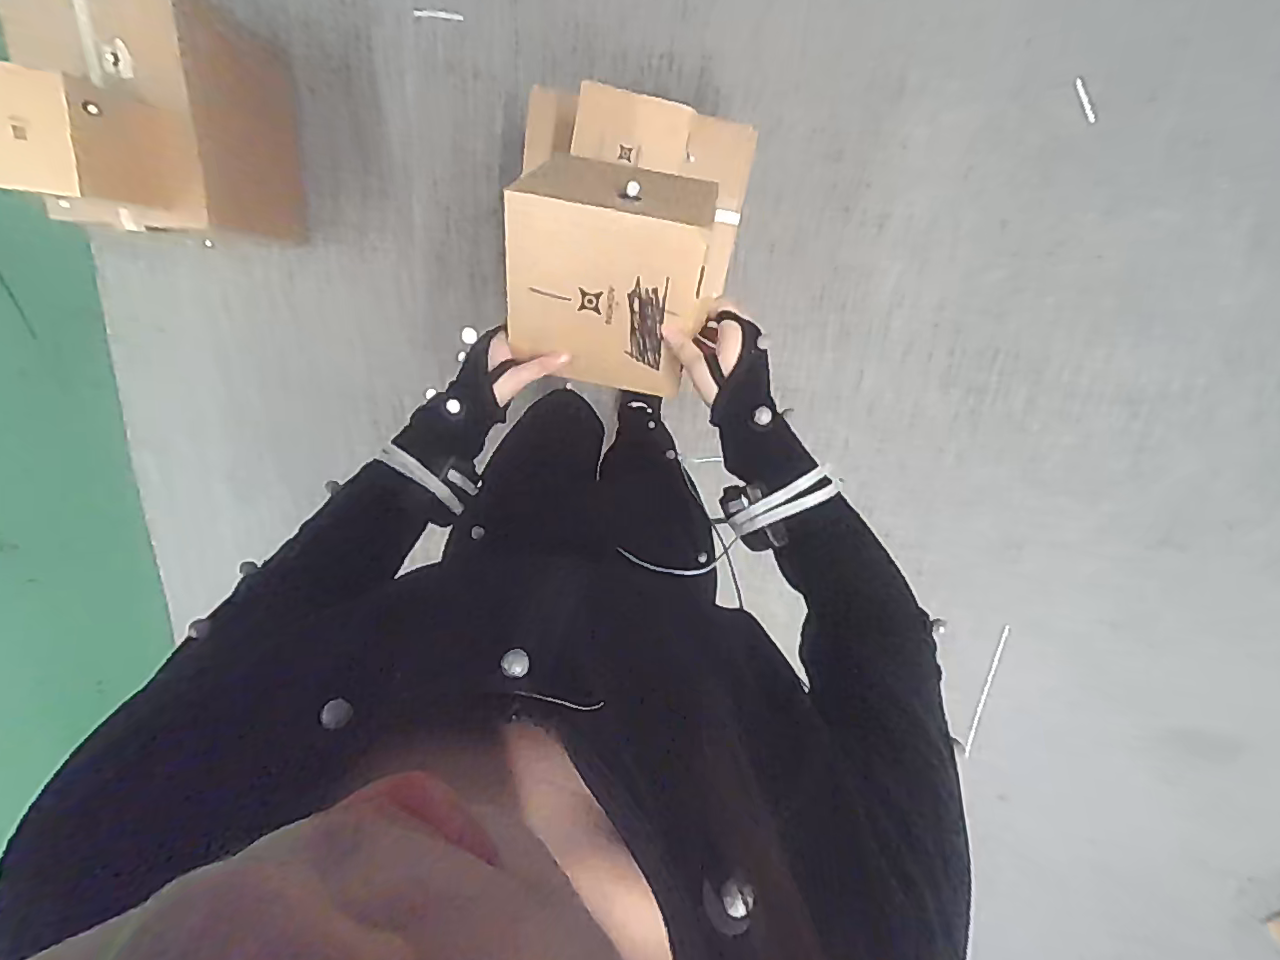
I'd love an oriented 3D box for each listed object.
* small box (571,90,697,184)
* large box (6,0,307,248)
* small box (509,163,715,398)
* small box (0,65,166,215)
[{"bbox_3d":[-0.016,-0.504,0.901,0.179,0.176,0.168,14,104,-2],"label":"small box"},{"bbox_3d":[-0.950,-0.717,1.118,0.320,0.320,0.408,4,107,0],"label":"large box"},{"bbox_3d":[-0.024,-0.211,0.560,0.179,0.176,0.168,12,130,2],"label":"small box"},{"bbox_3d":[-0.950,-0.561,0.909,0.168,0.176,0.179,7,106,-2],"label":"small box"}]
